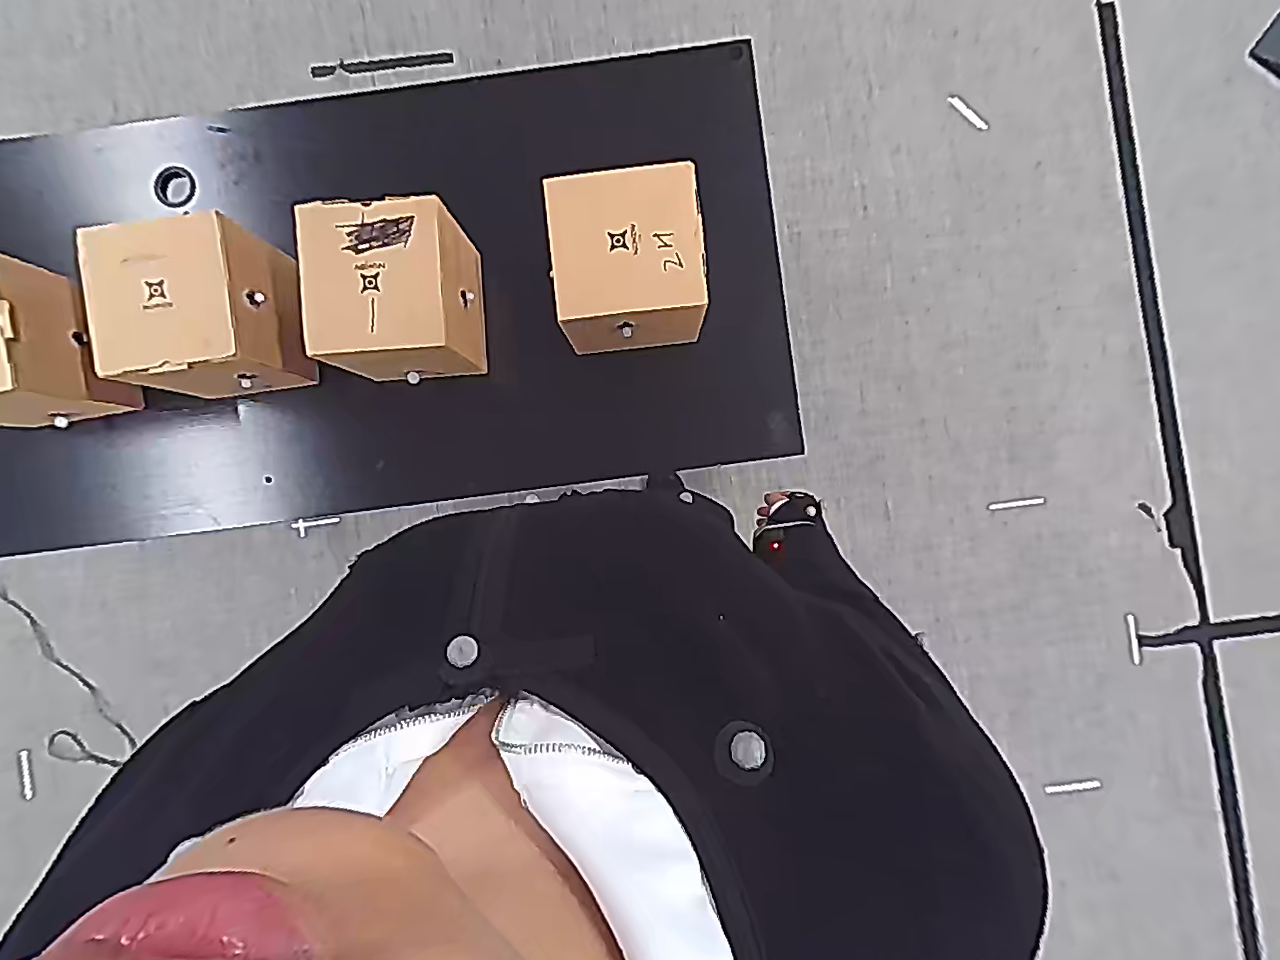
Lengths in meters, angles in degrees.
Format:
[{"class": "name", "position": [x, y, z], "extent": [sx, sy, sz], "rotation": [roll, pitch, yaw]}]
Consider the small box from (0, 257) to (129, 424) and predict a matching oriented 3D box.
[{"class": "small box", "position": [-0.814, -0.172, 0.696], "extent": [0.179, 0.176, 0.168], "rotation": [-10, 90, -1]}]

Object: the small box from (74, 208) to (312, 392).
[{"class": "small box", "position": [-0.556, -0.216, 0.699], "extent": [0.168, 0.176, 0.179], "rotation": [-8, 89, -1]}]

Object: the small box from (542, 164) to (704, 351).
[{"class": "small box", "position": [-0.018, -0.271, 0.697], "extent": [0.179, 0.176, 0.168], "rotation": [-6, 90, 0]}]

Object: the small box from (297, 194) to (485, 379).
[{"class": "small box", "position": [-0.307, -0.236, 0.697], "extent": [0.168, 0.176, 0.179], "rotation": [-4, 90, 0]}]
